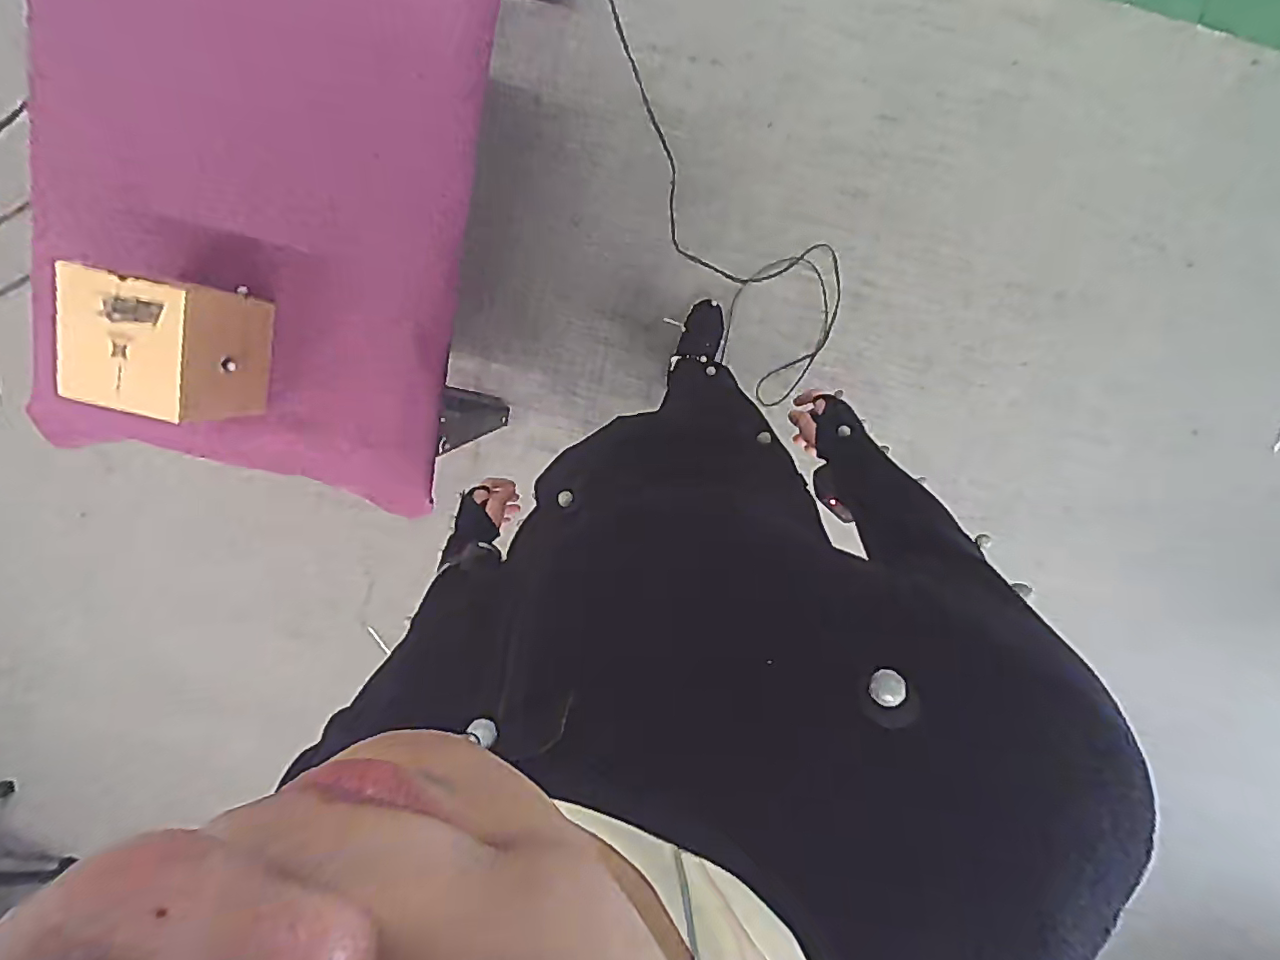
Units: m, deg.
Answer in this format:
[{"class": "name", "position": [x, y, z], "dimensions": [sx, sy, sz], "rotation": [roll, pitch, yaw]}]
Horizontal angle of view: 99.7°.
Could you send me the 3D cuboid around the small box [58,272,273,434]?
[{"class": "small box", "position": [-0.664, -0.178, 0.775], "dimensions": [0.168, 0.176, 0.179], "rotation": [13, 103, -1]}]
